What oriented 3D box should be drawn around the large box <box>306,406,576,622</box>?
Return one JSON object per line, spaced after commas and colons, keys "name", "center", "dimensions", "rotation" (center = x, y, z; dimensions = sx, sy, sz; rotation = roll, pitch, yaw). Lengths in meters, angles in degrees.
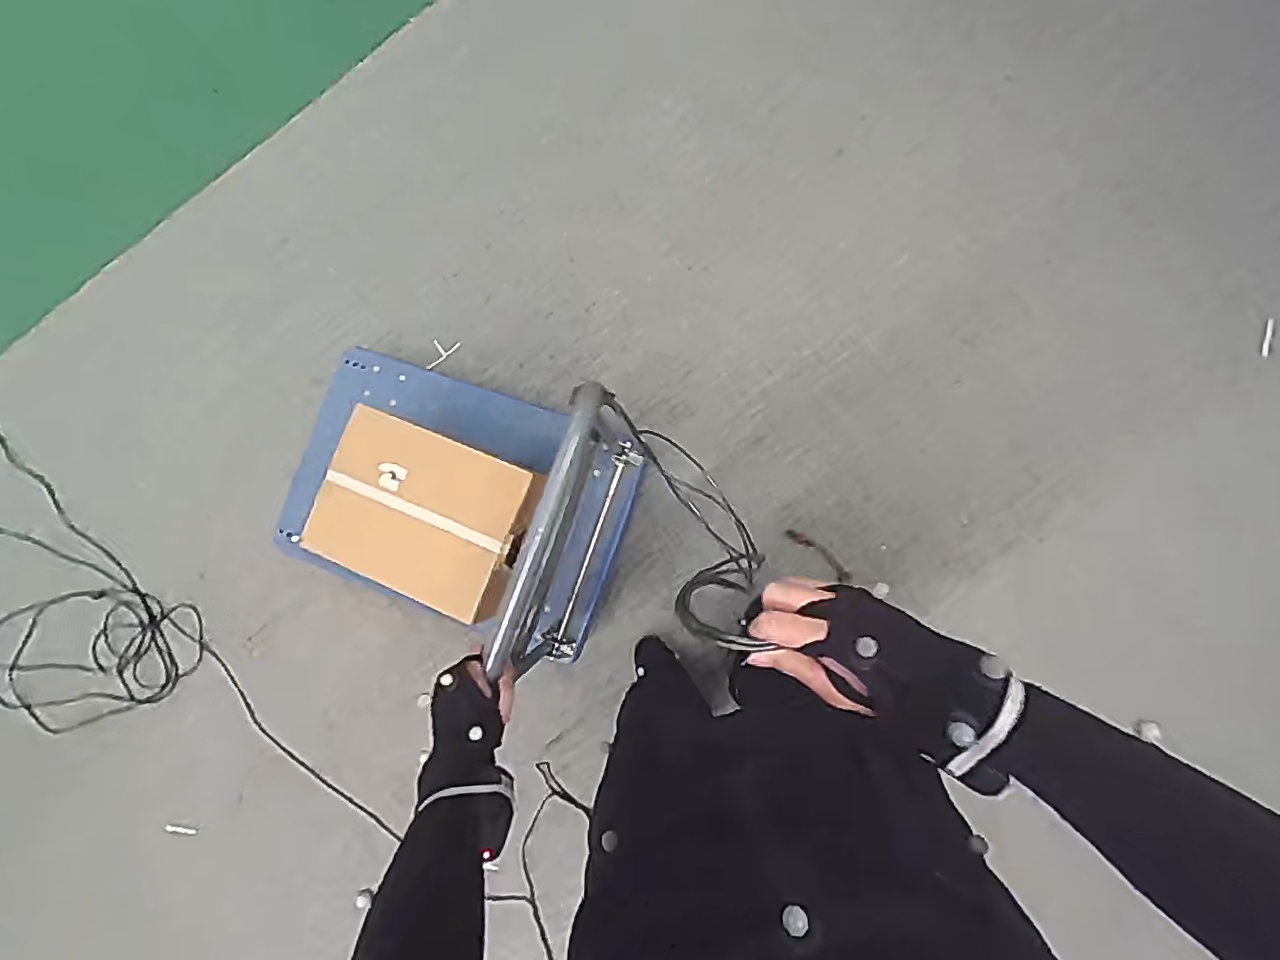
{"name": "large box", "center": [-0.407, 0.072, 1.194], "dimensions": [0.408, 0.320, 0.320], "rotation": [22, 87, 10]}
